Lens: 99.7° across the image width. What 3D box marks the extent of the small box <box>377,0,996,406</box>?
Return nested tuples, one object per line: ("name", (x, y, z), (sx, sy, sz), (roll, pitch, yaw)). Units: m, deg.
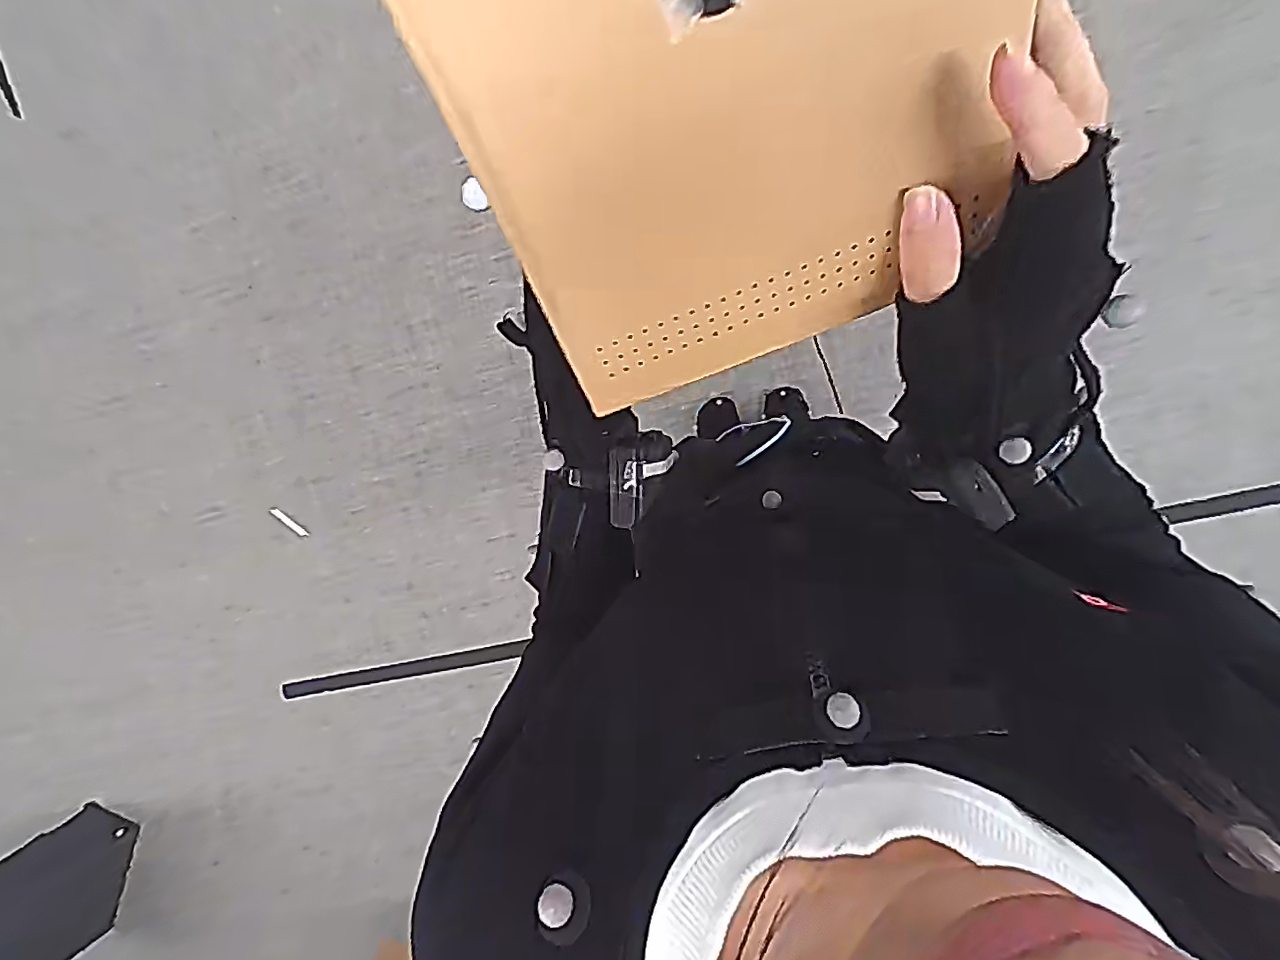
("small box", (0.026, -0.159, 0.233), (0.179, 0.168, 0.176), (-19, 134, 8))
